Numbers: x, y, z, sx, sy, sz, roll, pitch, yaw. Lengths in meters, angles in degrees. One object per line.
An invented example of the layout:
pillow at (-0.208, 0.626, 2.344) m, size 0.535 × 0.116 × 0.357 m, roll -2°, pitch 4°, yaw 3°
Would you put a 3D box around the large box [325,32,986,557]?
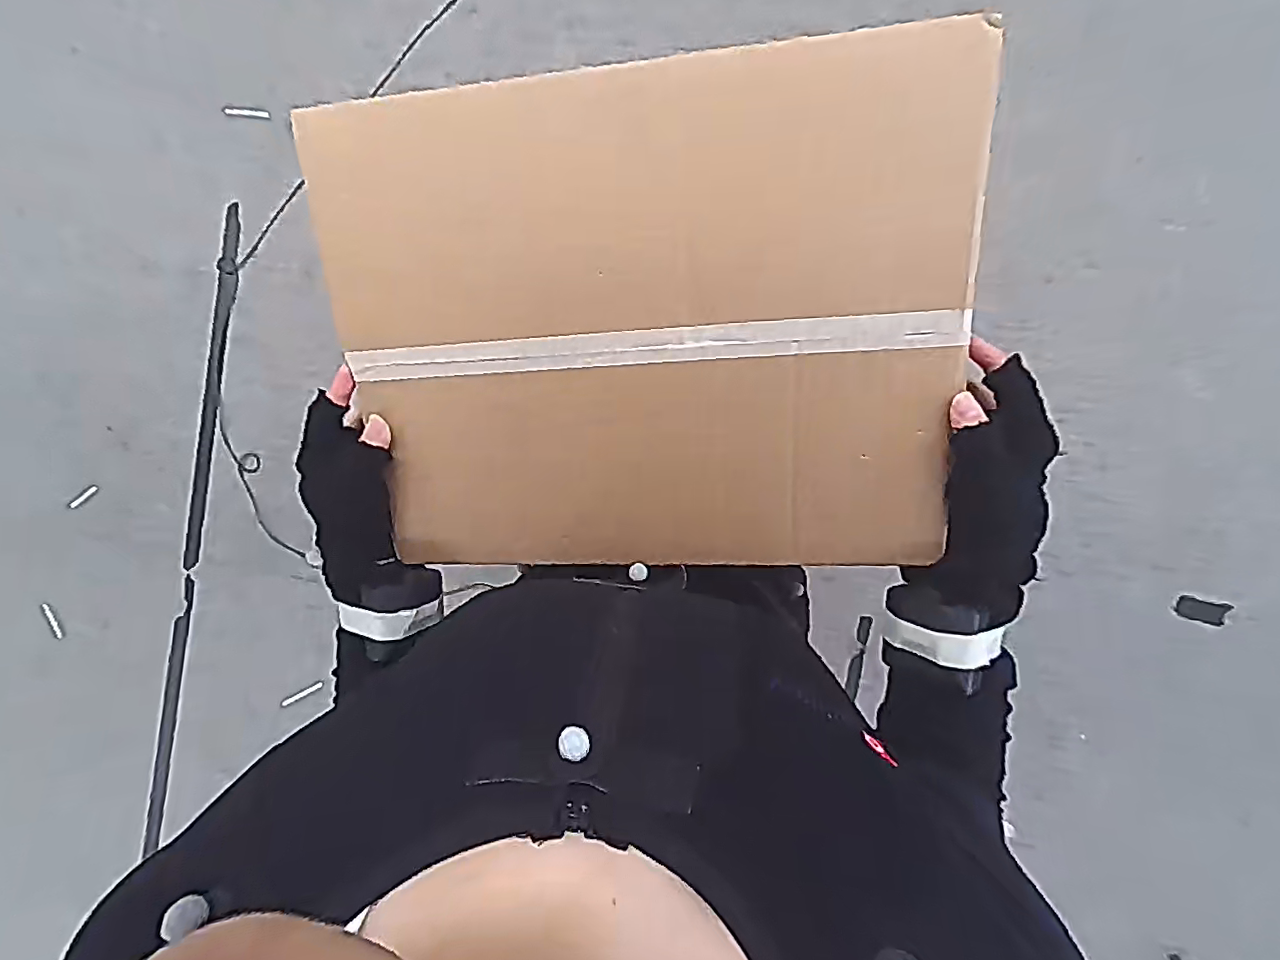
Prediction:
large box at (0.019, -0.134, 0.502) m, size 0.408 × 0.320 × 0.320 m, roll -1°, pitch 109°, yaw 9°
